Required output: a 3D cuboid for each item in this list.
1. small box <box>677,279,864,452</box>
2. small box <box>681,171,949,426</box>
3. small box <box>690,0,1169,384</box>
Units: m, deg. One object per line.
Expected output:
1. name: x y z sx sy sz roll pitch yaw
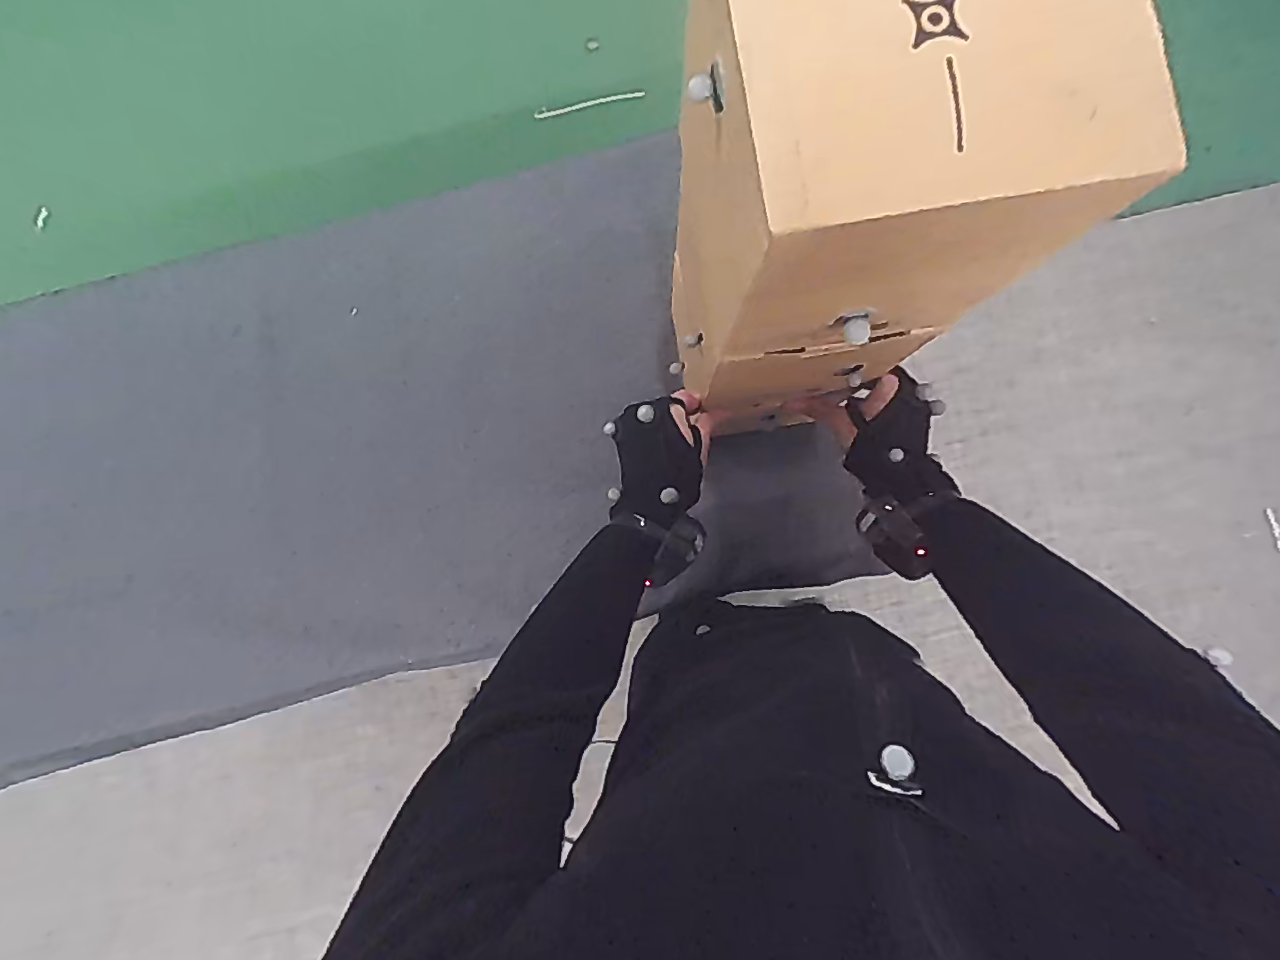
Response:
1. small box: 0.138 -0.134 0.634 0.168 0.176 0.179 -10 84 1
2. small box: 0.131 -0.152 0.473 0.168 0.176 0.179 -10 82 1
3. small box: 0.125 -0.171 0.310 0.168 0.176 0.179 -9 85 1
